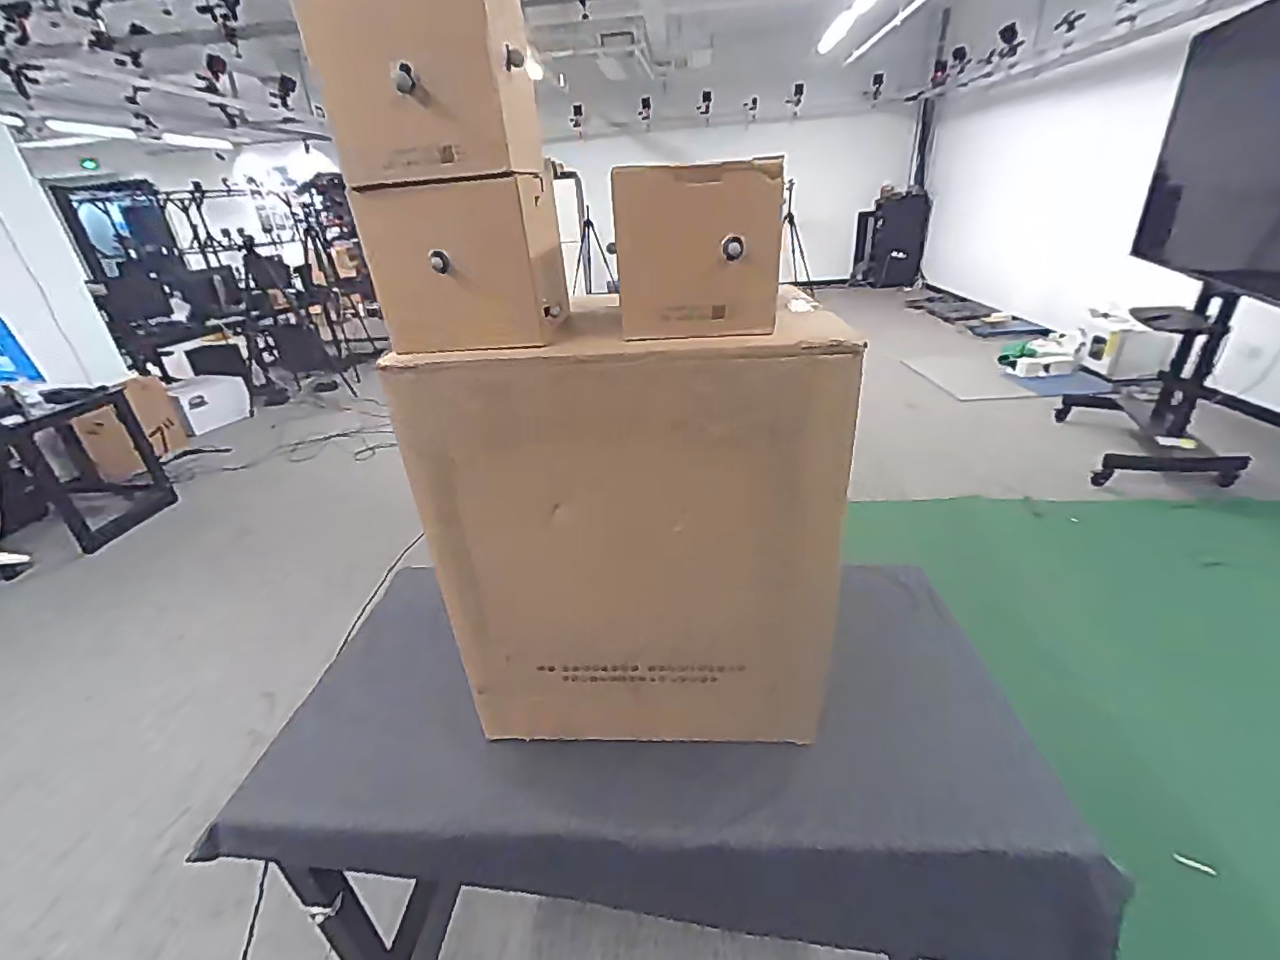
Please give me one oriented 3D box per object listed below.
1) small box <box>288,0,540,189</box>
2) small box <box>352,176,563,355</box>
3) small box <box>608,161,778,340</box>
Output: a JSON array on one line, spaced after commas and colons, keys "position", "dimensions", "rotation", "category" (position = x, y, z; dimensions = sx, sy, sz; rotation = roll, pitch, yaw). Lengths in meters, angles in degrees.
[{"position": [-0.206, -0.394, 0.551], "dimensions": [0.168, 0.176, 0.179], "rotation": [-3, 30, 3], "category": "small box"}, {"position": [-0.191, -0.252, 0.631], "dimensions": [0.179, 0.176, 0.168], "rotation": [-2, 30, 2], "category": "small box"}, {"position": [0.061, -0.262, 0.620], "dimensions": [0.168, 0.176, 0.179], "rotation": [0, 29, 5], "category": "small box"}]
